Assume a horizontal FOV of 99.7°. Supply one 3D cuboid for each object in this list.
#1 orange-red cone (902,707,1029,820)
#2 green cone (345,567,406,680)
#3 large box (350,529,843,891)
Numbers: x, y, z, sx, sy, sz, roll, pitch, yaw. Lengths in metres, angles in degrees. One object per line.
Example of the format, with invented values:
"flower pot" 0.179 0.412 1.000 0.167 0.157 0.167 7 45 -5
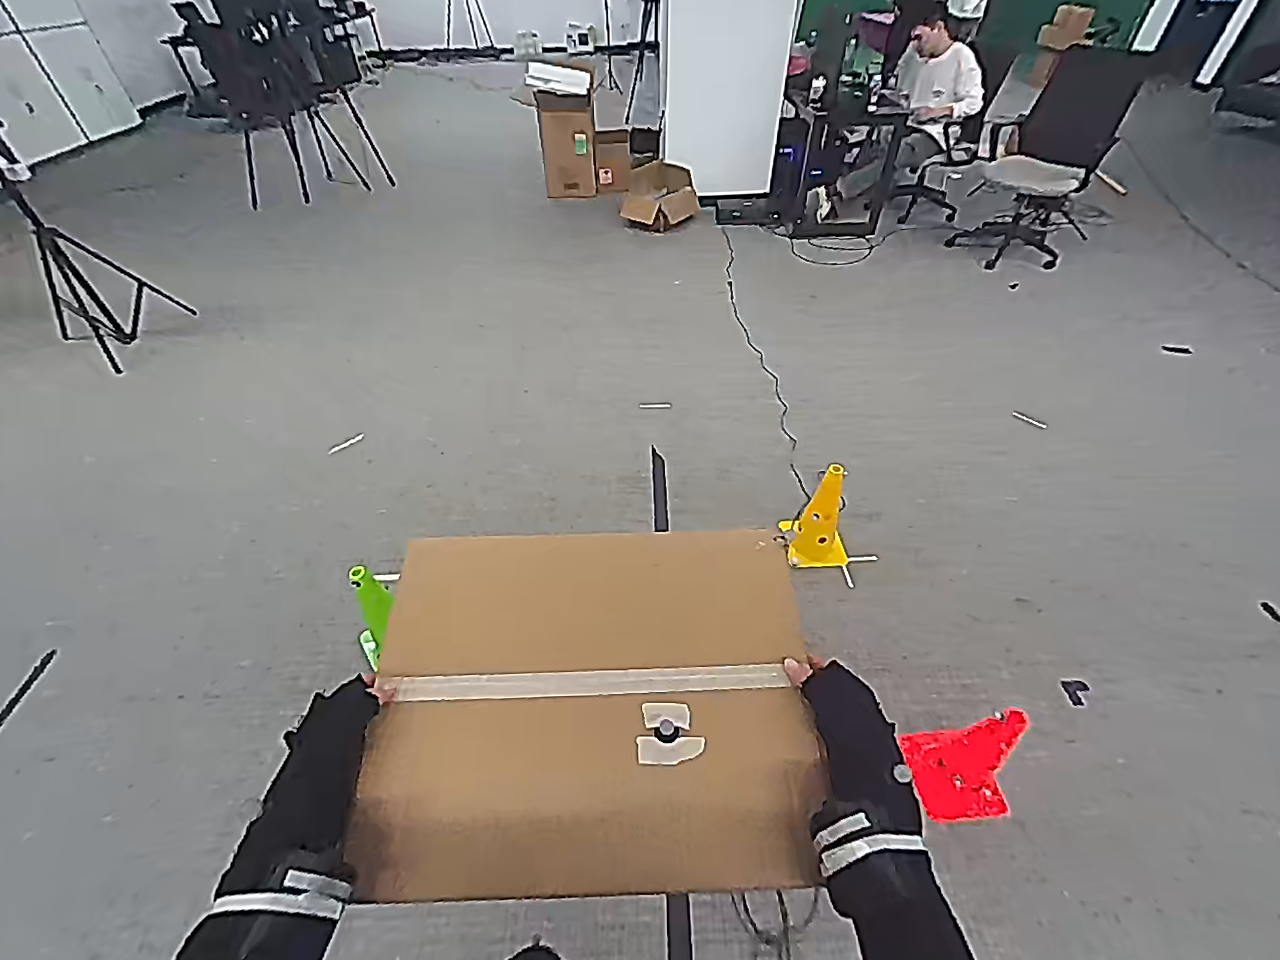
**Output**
"orange-red cone" 0.771 0.604 1.221 0.198 0.360 0.199 -3 43 -2
"green cone" -0.720 0.357 1.505 0.202 0.368 0.200 -31 51 -24
"large box" -0.040 0.271 0.635 0.408 0.320 0.320 -1 56 -1
